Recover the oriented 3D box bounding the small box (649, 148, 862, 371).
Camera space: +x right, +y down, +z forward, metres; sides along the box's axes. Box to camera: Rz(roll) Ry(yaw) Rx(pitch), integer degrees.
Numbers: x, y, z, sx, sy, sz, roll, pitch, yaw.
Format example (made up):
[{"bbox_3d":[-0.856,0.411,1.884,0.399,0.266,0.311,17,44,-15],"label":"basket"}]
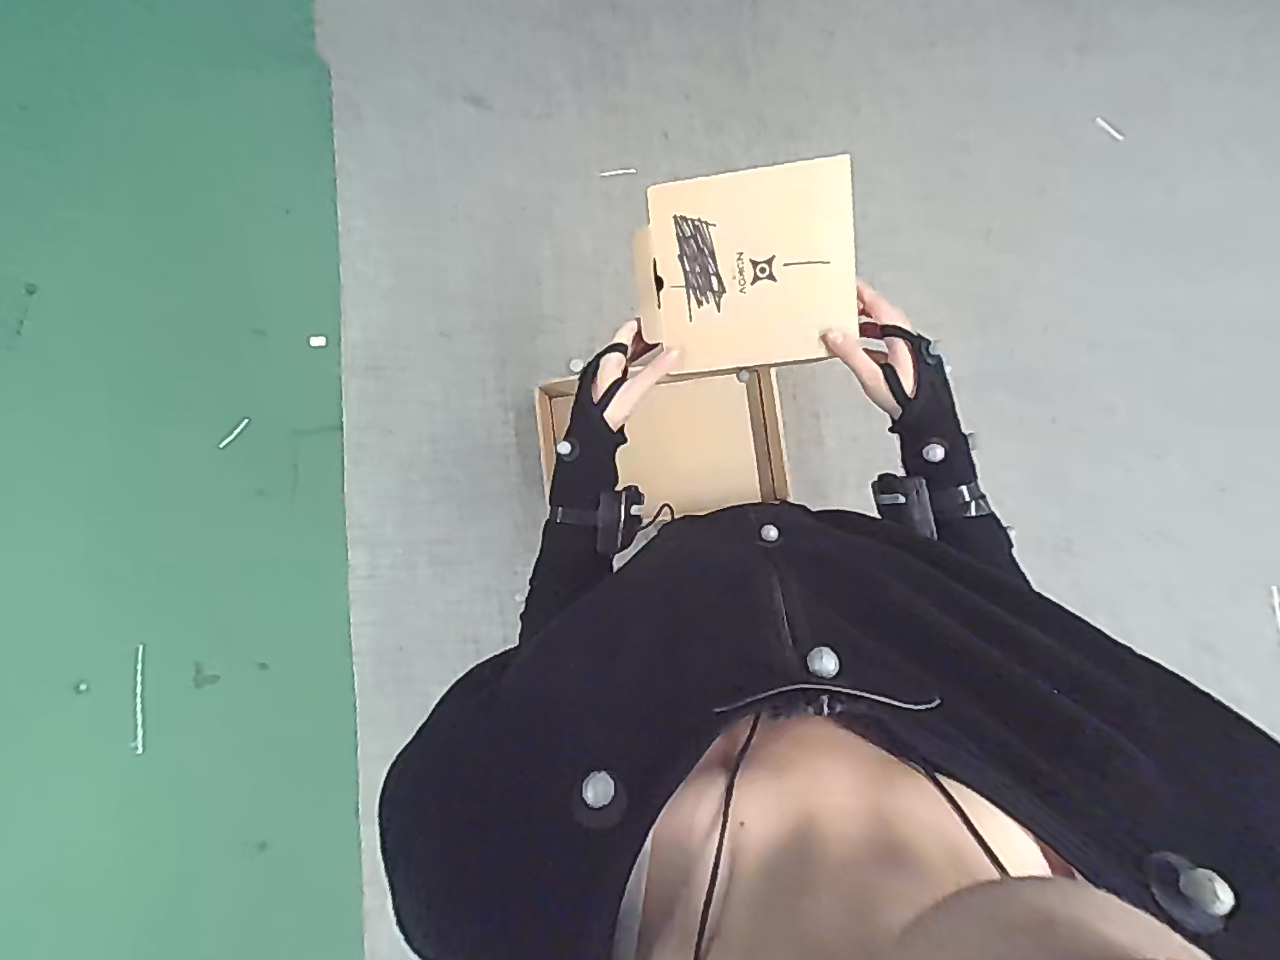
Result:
[{"bbox_3d":[0.112,-0.204,0.553,0.179,0.176,0.168,-6,100,8],"label":"small box"}]
